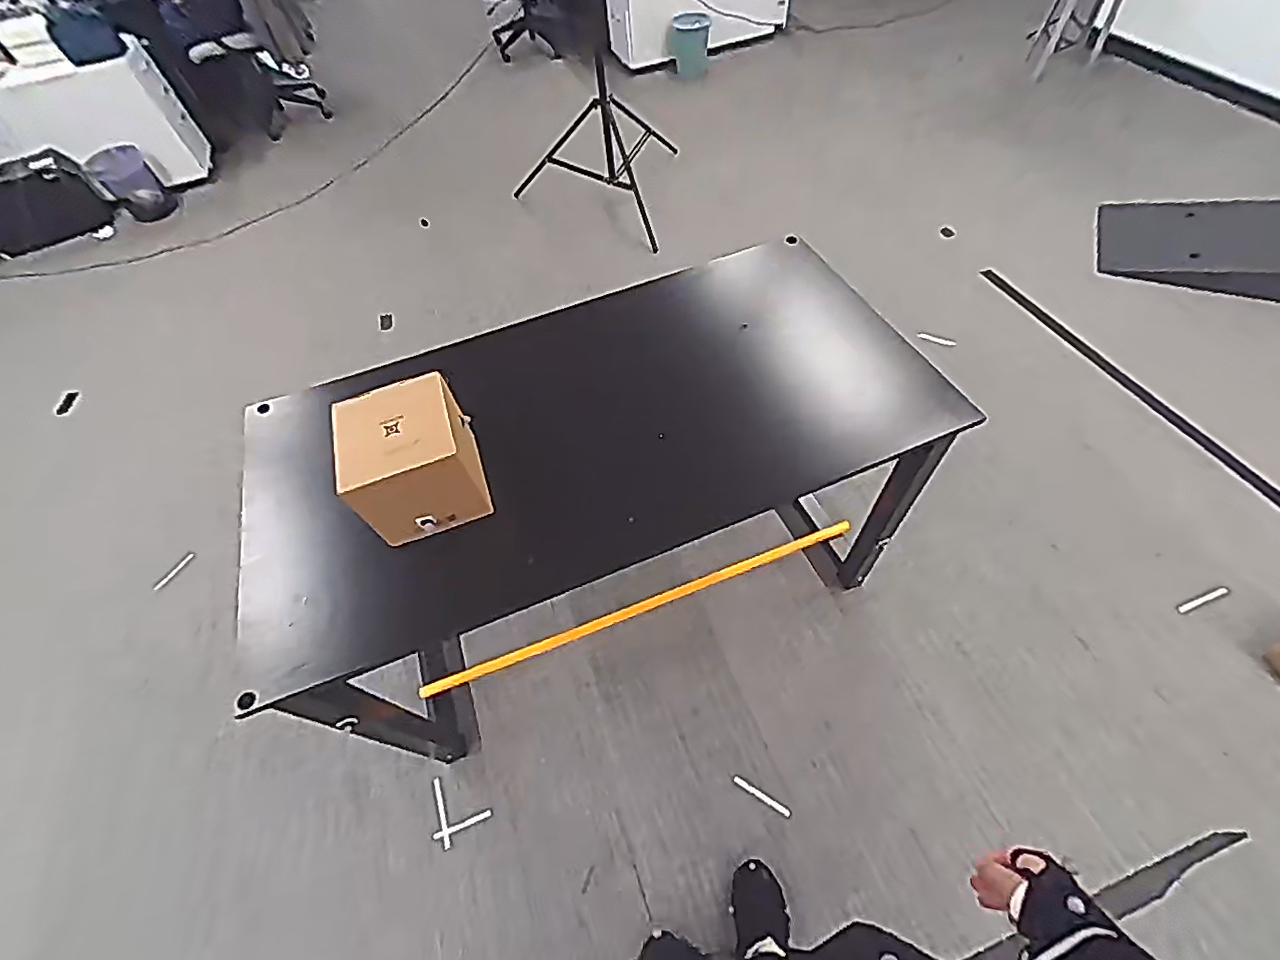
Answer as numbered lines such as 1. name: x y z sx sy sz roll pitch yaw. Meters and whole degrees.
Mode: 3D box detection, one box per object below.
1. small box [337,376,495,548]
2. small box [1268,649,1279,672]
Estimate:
1. small box: -0.342 -0.024 0.842 0.168 0.176 0.179 -21 57 -7
2. small box: 1.626 0.427 1.220 0.168 0.176 0.179 -22 57 -10
